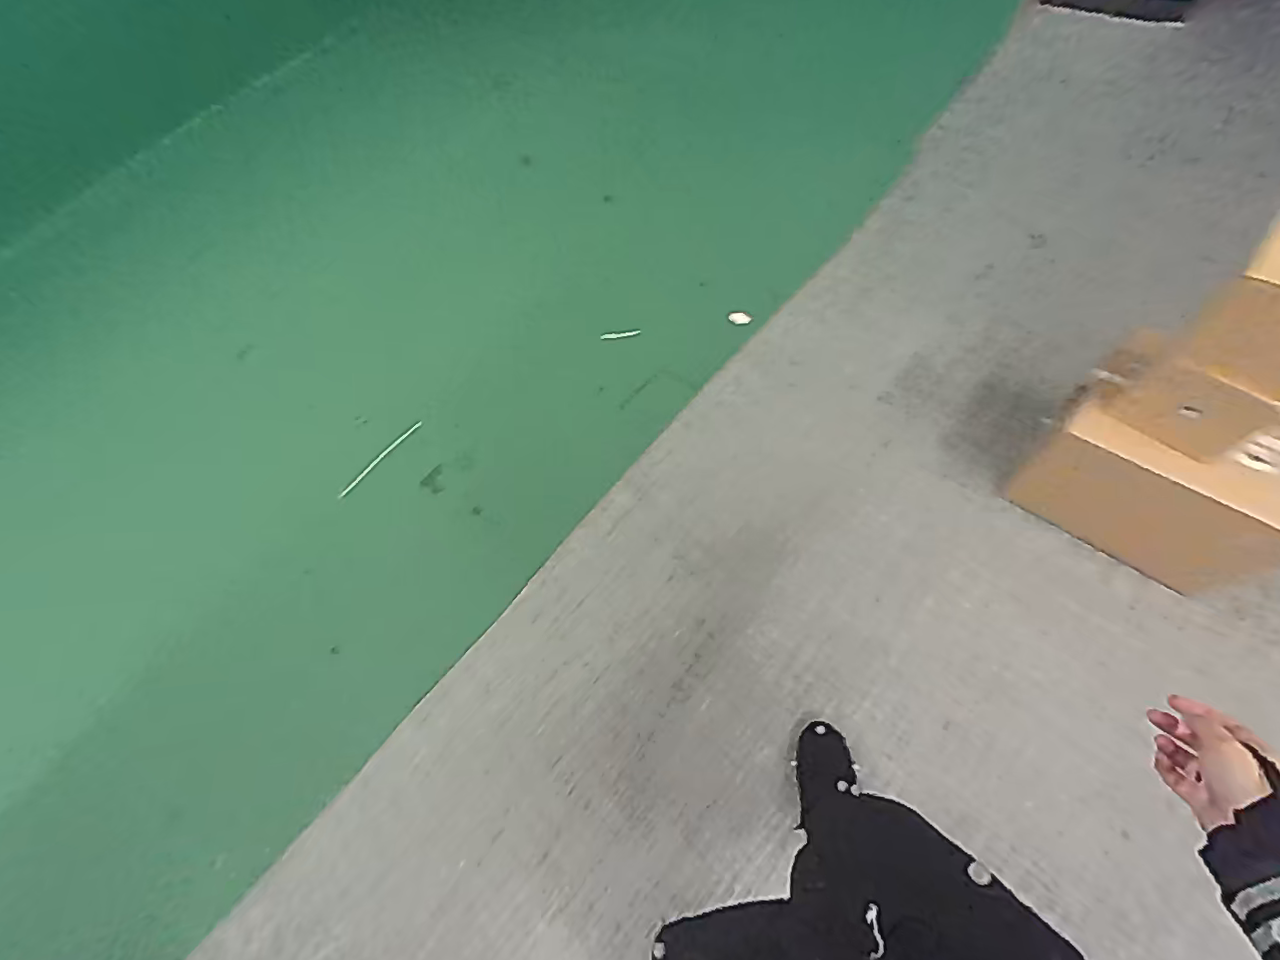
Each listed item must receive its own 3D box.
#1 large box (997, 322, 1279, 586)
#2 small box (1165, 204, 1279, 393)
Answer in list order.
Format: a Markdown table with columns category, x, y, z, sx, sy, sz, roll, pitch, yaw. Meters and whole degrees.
| category | x | y | z | sx | sy | sz | roll | pitch | yaw |
| --- | --- | --- | --- | --- | --- | --- | --- | --- | --- |
| large box | 1.065 | -0.046 | 1.117 | 0.408 | 0.320 | 0.320 | 35 | 76 | 22 |
| small box | 0.937 | -0.257 | 0.785 | 0.179 | 0.176 | 0.168 | 36 | 75 | 23 |
